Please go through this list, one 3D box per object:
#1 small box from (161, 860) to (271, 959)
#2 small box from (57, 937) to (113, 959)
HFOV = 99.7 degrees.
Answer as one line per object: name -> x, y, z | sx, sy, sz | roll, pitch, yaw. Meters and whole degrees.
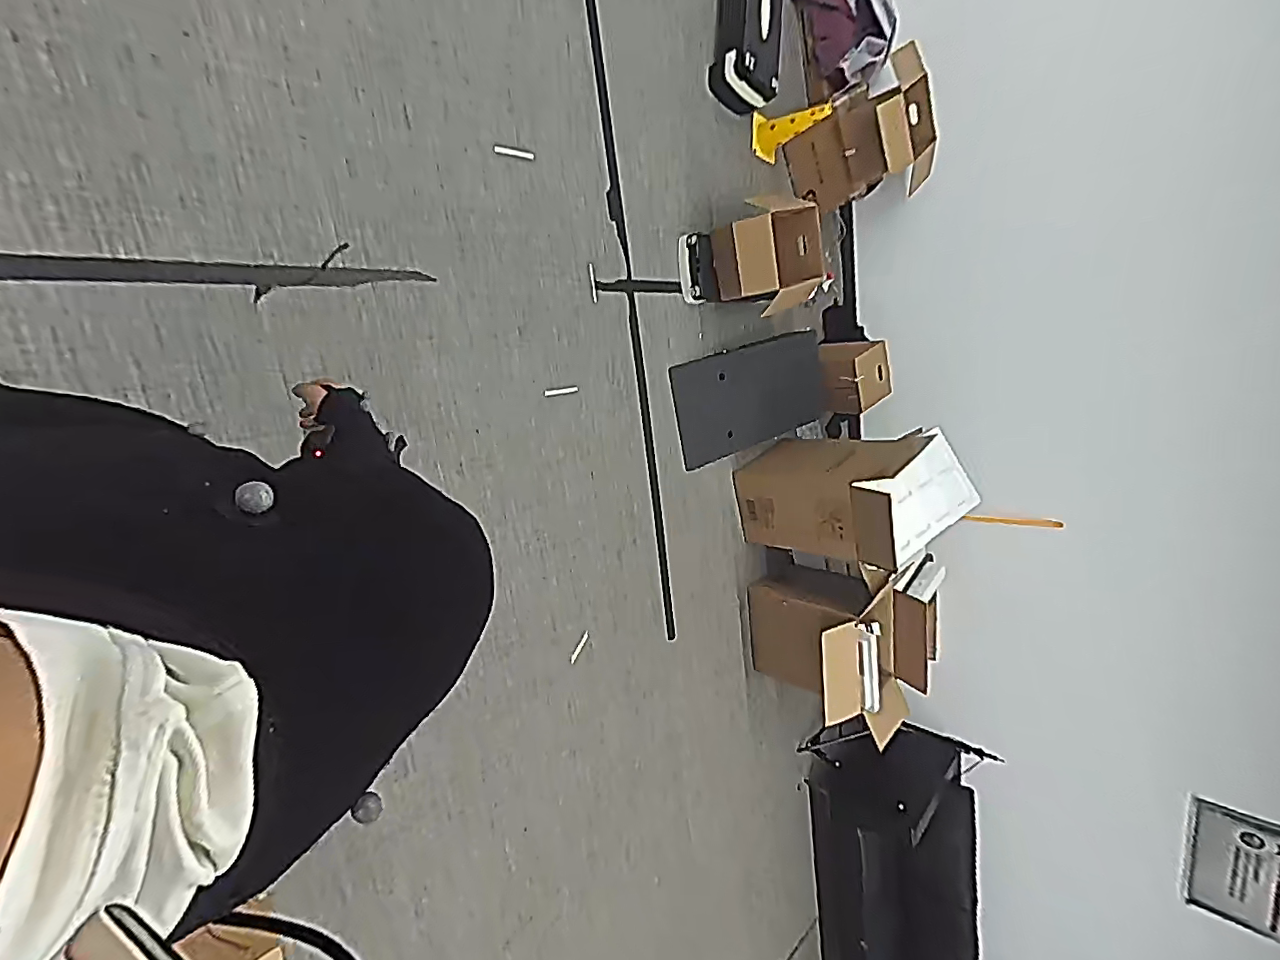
small box -> -1.030, 1.085, 1.309 | 0.179, 0.176, 0.168 | -17, 106, -43
small box -> -1.219, 1.131, 1.128 | 0.179, 0.176, 0.168 | -15, 104, -43
